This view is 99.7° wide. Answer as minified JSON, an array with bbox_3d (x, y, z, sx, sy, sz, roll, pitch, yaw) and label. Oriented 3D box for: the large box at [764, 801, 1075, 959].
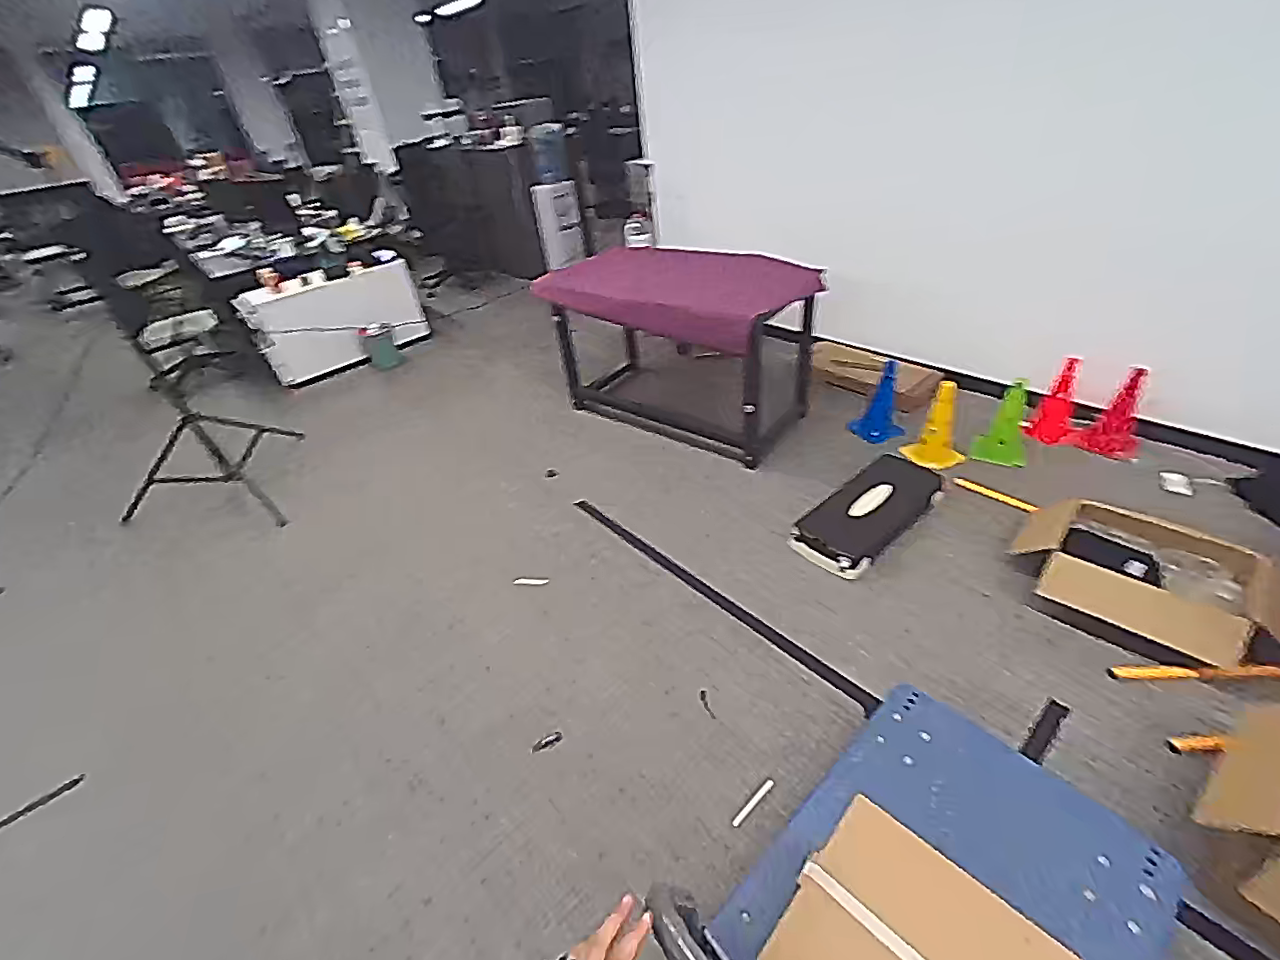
[{"bbox_3d":[0.430,0.818,0.836,0.408,0.320,0.320,28,50,36],"label":"large box"}]
